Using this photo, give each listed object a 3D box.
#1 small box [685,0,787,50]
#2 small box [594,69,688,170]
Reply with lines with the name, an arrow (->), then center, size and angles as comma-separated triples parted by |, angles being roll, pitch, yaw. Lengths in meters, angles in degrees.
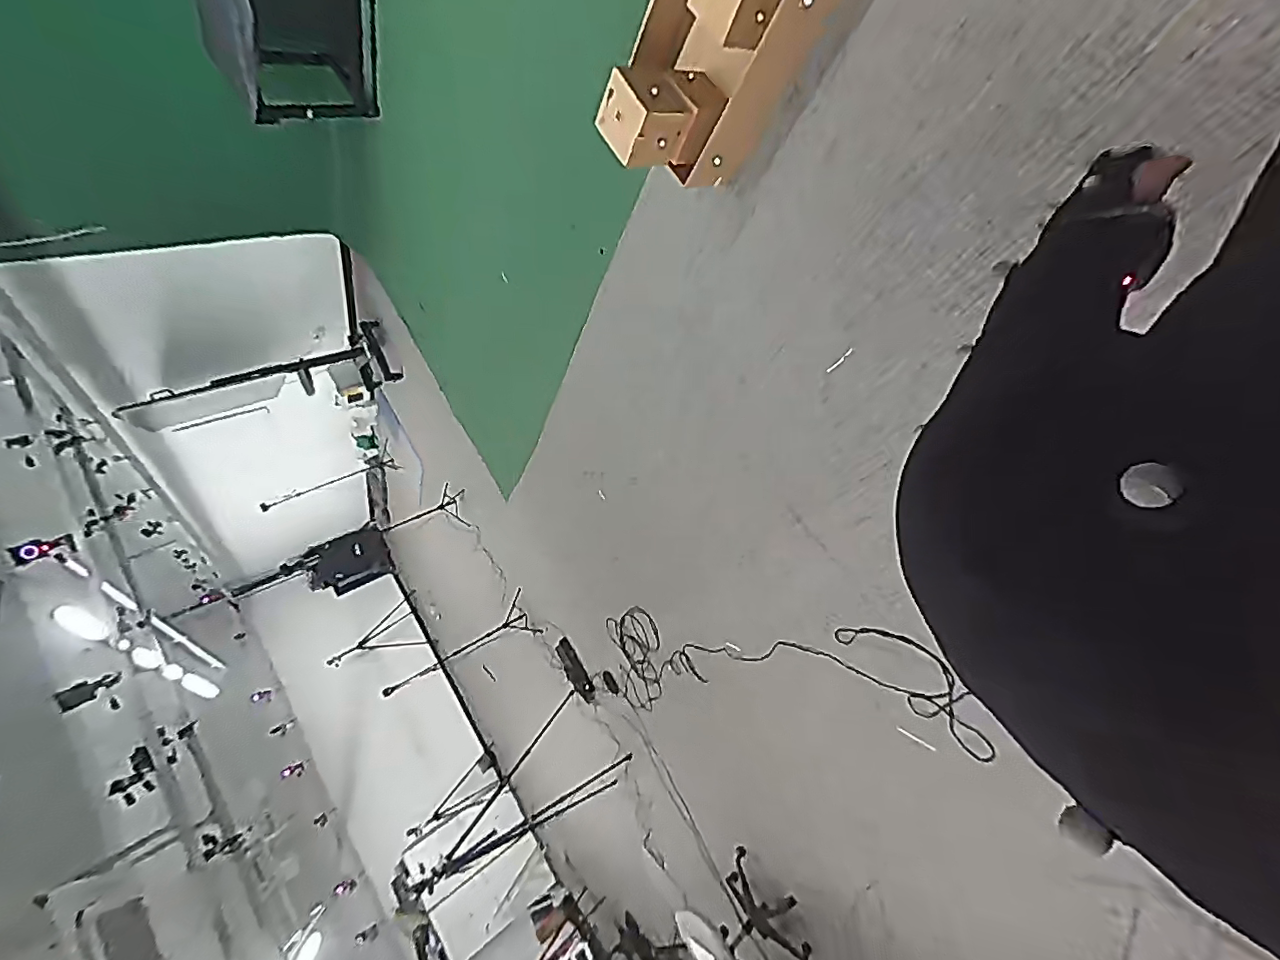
small box -> 0.251, -1.212, 1.337 | 0.168, 0.176, 0.179 | 56, 147, 10
small box -> 0.005, -1.010, 1.512 | 0.179, 0.176, 0.168 | 57, 146, 8
